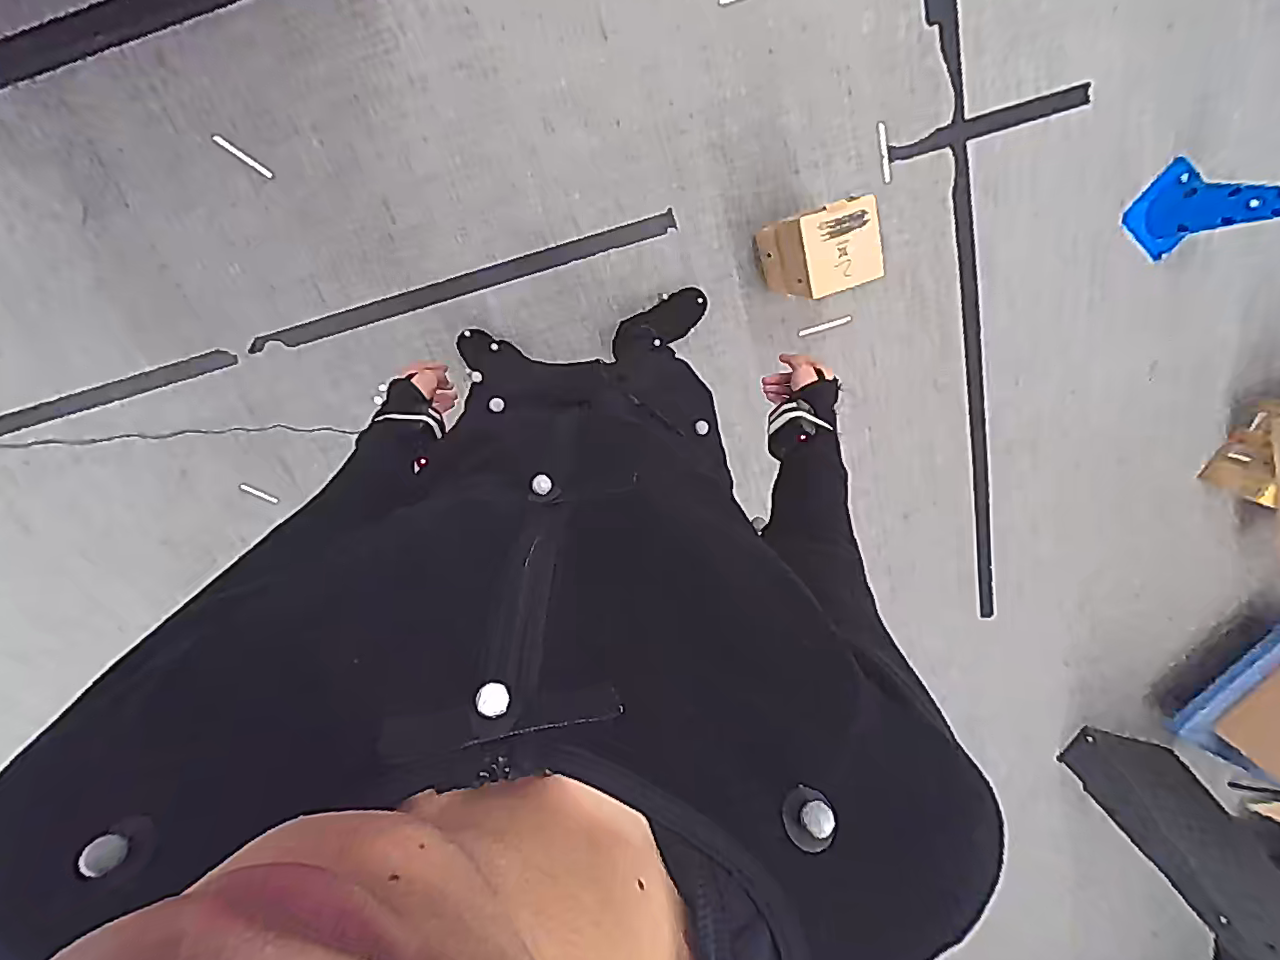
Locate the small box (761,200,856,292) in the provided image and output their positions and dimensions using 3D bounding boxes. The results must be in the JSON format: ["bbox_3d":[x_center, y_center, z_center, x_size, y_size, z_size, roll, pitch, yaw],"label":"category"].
[{"bbox_3d":[0.422,-0.594,1.387,0.179,0.176,0.168,-21,112,4],"label":"small box"}]
